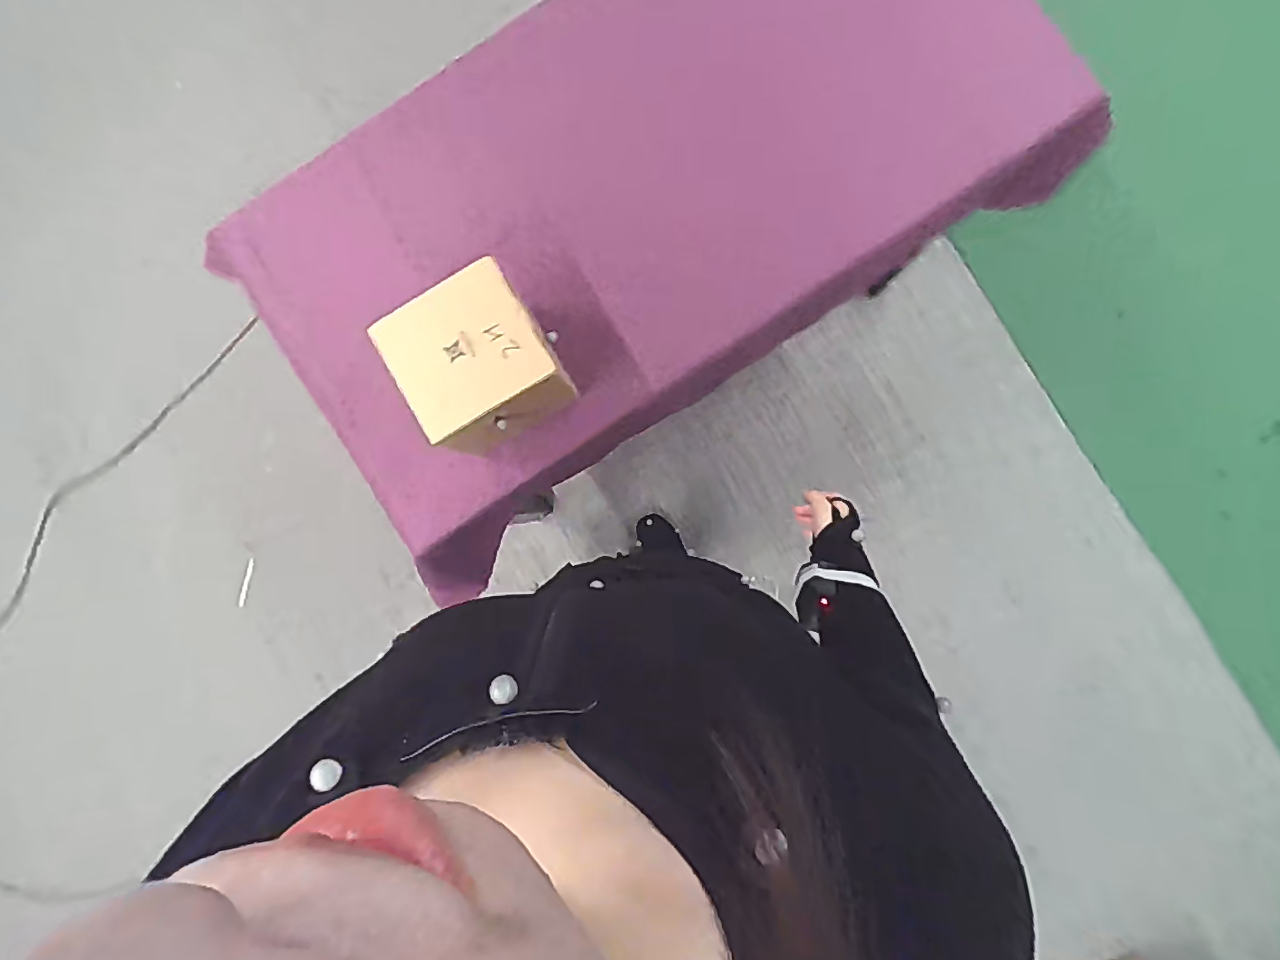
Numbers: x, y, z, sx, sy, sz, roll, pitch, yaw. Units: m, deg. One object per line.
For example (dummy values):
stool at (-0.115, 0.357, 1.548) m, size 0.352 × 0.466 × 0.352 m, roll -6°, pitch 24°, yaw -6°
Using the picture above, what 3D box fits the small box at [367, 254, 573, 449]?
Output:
small box at (-0.211, -0.154, 0.719) m, size 0.179 × 0.176 × 0.168 m, roll -30°, pitch 86°, yaw 1°
